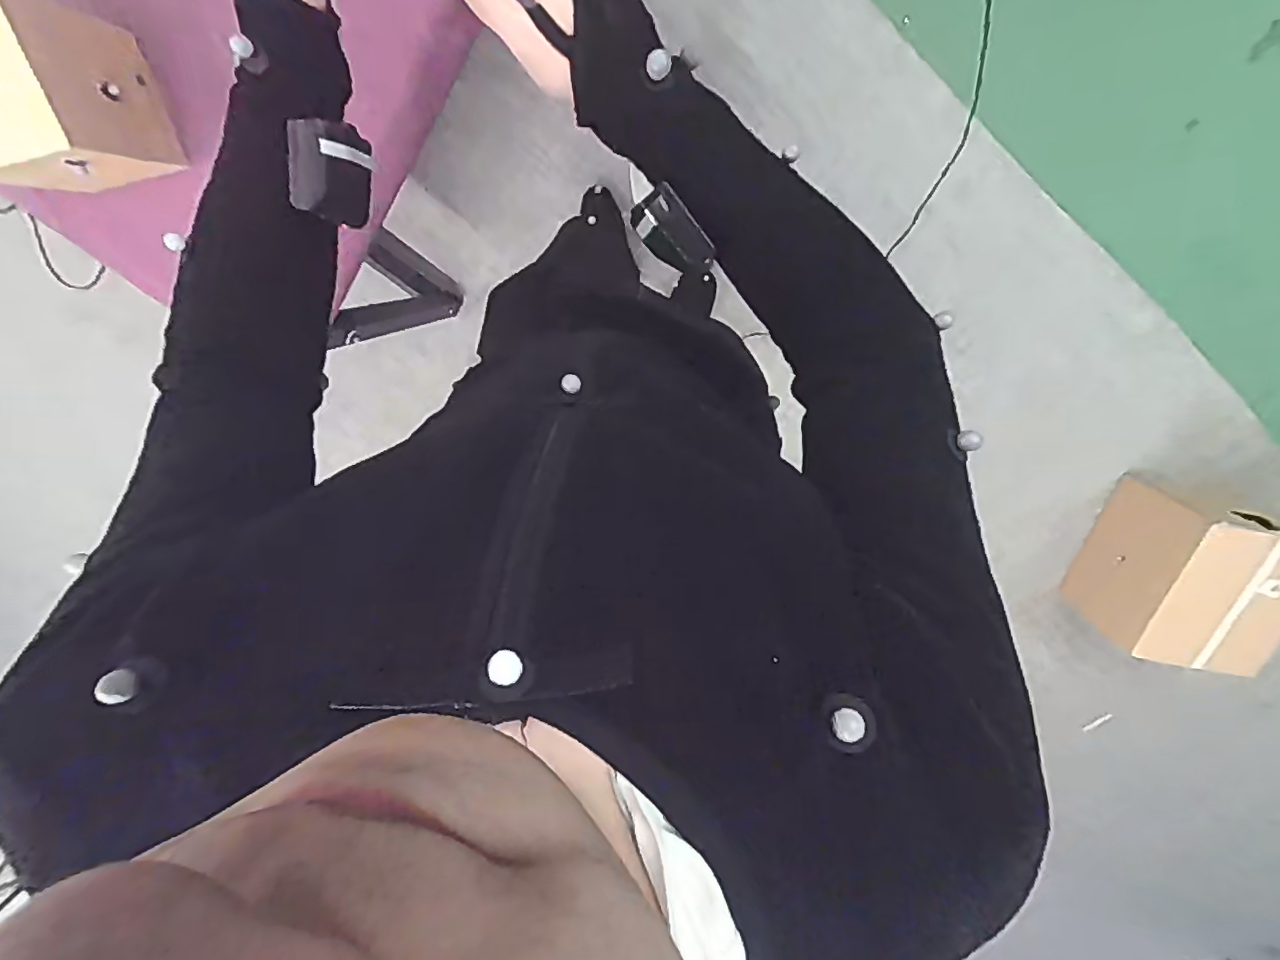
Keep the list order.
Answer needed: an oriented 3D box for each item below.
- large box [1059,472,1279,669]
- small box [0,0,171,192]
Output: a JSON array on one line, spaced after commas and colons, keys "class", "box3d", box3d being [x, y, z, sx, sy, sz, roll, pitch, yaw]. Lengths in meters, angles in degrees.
[{"class": "large box", "box3d": [1.457, 0.234, 1.470, 0.320, 0.320, 0.408, 9, 113, 2]}, {"class": "small box", "box3d": [-0.767, -0.484, 0.698, 0.179, 0.176, 0.168, -7, 111, 9]}]
